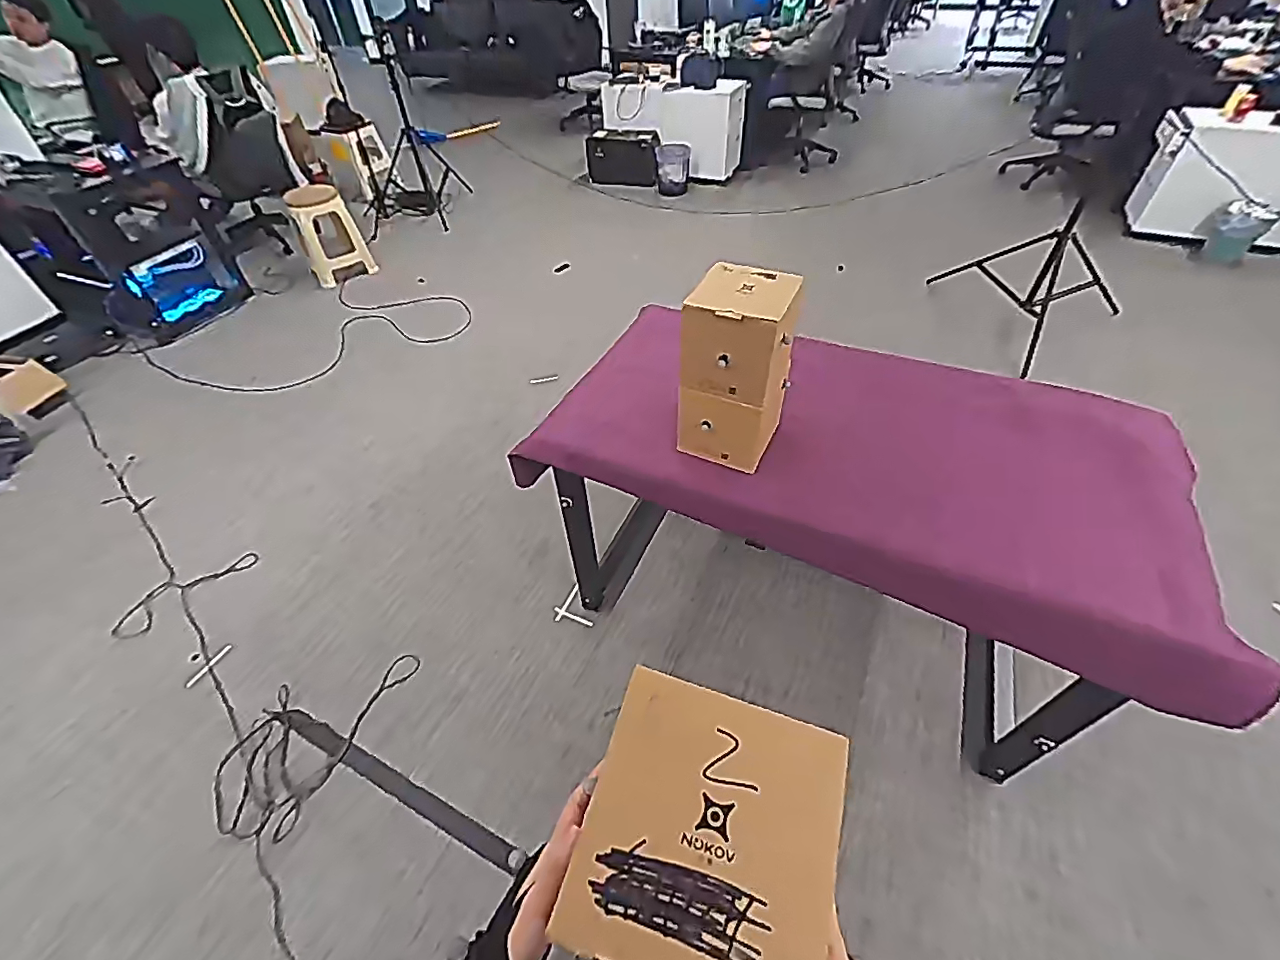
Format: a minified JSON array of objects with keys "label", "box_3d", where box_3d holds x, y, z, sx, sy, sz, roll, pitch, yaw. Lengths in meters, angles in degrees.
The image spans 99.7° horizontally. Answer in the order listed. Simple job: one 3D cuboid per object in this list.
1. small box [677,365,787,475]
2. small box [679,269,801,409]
[{"label":"small box","box_3d":[0.183,-0.136,1.095,0.168,0.176,0.179,19,49,19]},{"label":"small box","box_3d":[0.178,-0.254,0.981,0.168,0.176,0.179,18,49,18]}]
